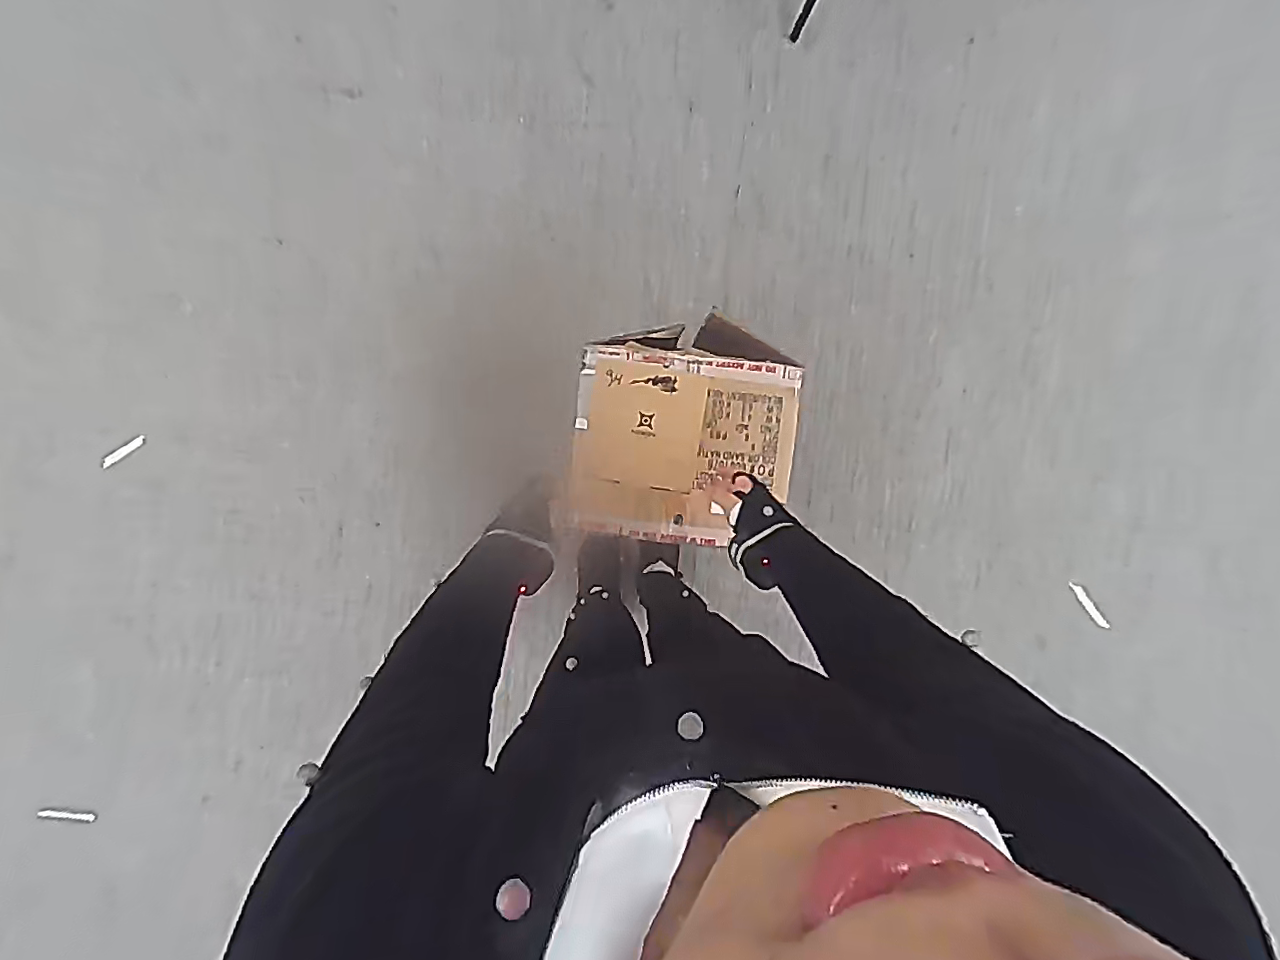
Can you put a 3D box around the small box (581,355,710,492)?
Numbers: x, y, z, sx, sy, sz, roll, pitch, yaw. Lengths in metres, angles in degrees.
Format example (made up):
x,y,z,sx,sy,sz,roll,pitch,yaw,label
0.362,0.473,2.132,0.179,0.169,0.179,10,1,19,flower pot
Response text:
x,y,z,sx,sy,sz,roll,pitch,yaw,label
0.010,-0.089,0.852,0.168,0.176,0.179,9,96,1,small box
